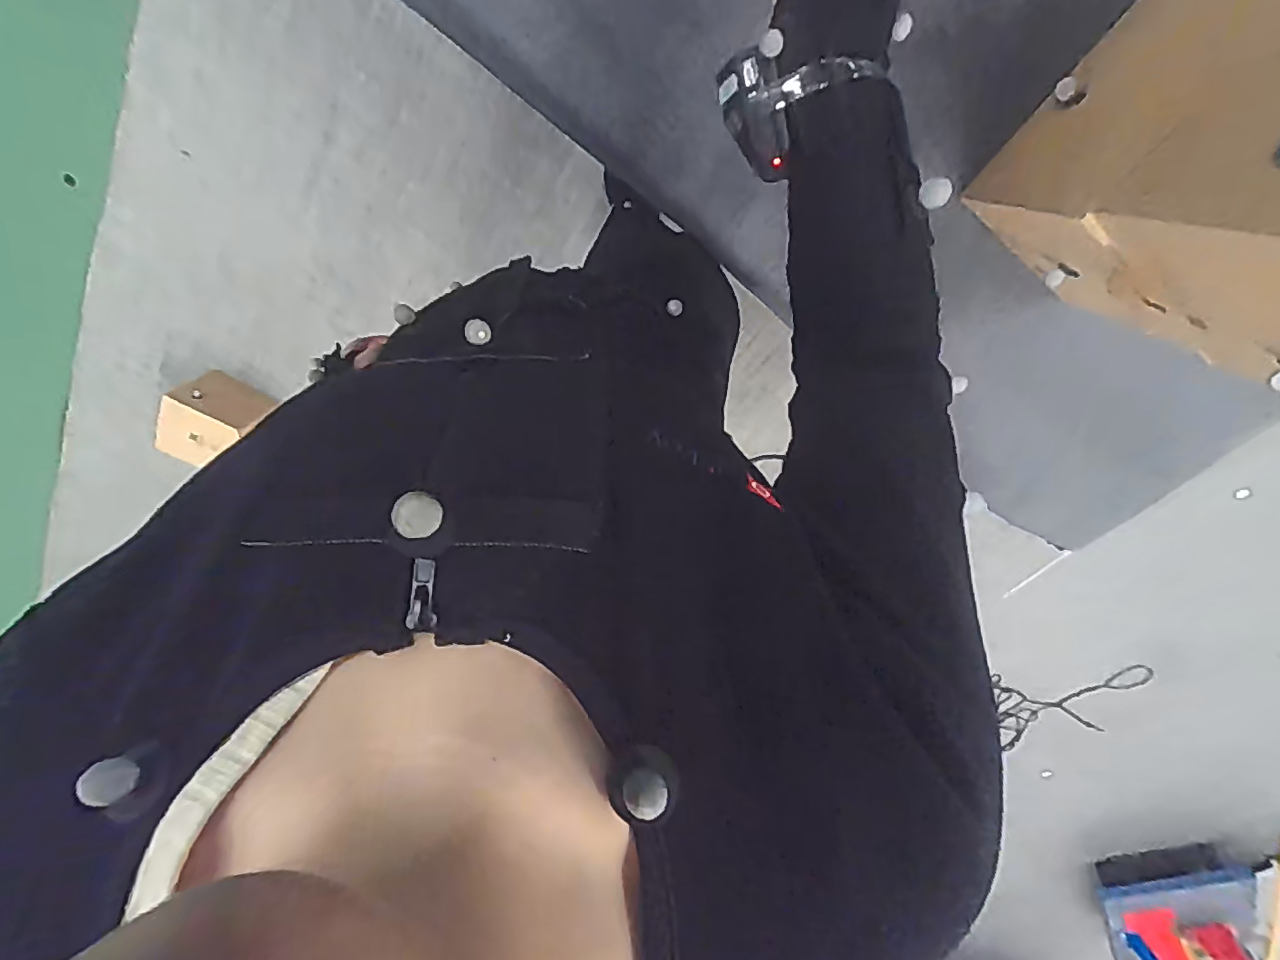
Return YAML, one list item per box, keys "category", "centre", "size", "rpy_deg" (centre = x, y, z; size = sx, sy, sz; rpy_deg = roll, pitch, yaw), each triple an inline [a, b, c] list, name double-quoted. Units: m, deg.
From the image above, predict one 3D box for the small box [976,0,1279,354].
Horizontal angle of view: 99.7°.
- category: "small box"
  centre: [0.397, -0.233, 0.409]
  size: [0.168, 0.176, 0.179]
  rpy_deg: [32, 117, -16]

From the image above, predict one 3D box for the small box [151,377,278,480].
- category: "small box"
  centre: [-1.060, -0.136, 1.356]
  size: [0.179, 0.176, 0.168]
  rpy_deg: [29, 118, -15]
